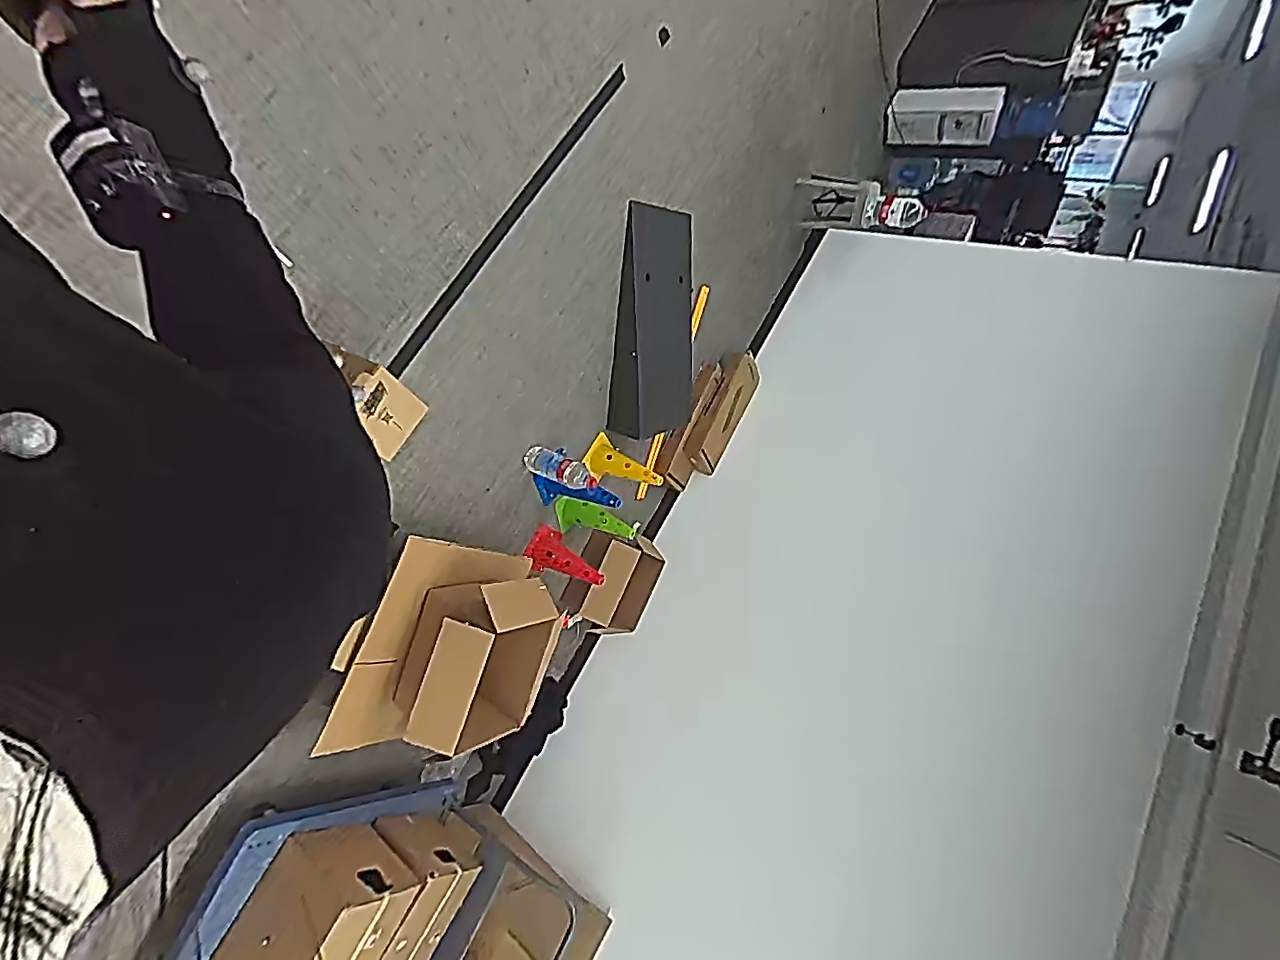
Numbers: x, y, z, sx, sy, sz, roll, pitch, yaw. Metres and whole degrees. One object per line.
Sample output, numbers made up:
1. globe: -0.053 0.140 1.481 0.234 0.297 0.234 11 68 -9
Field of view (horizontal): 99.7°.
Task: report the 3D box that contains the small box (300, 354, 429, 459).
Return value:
1. small box: -0.652 -0.180 1.280 0.168 0.176 0.179 -59 152 -15
